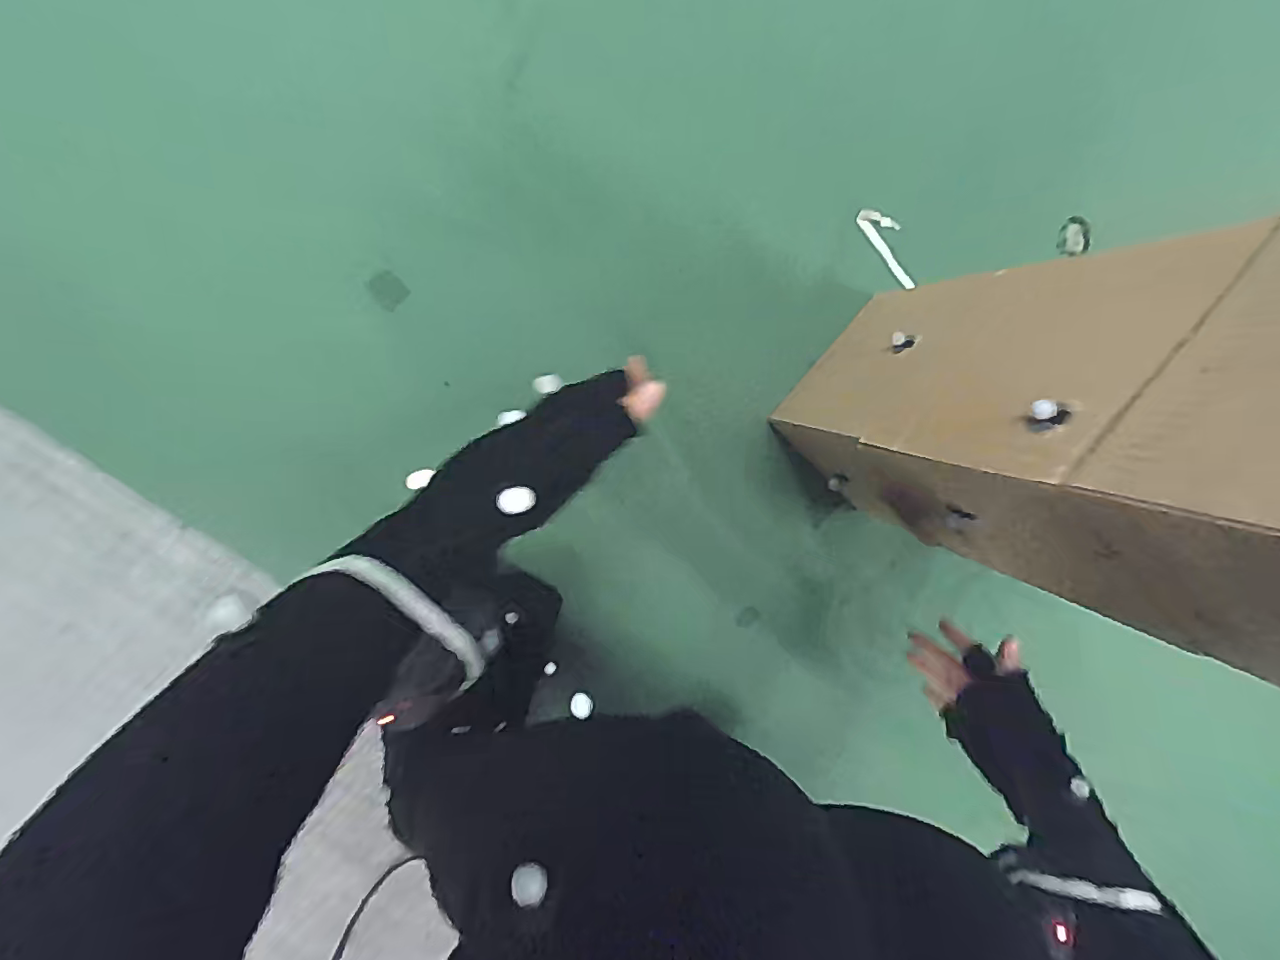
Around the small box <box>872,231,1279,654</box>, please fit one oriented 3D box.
[{"bbox_3d":[0.301,-0.029,0.365,0.168,0.176,0.179,39,93,-18],"label":"small box"}]

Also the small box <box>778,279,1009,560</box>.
[{"bbox_3d":[0.269,-0.061,0.521,0.168,0.176,0.179,41,91,-17],"label":"small box"}]
